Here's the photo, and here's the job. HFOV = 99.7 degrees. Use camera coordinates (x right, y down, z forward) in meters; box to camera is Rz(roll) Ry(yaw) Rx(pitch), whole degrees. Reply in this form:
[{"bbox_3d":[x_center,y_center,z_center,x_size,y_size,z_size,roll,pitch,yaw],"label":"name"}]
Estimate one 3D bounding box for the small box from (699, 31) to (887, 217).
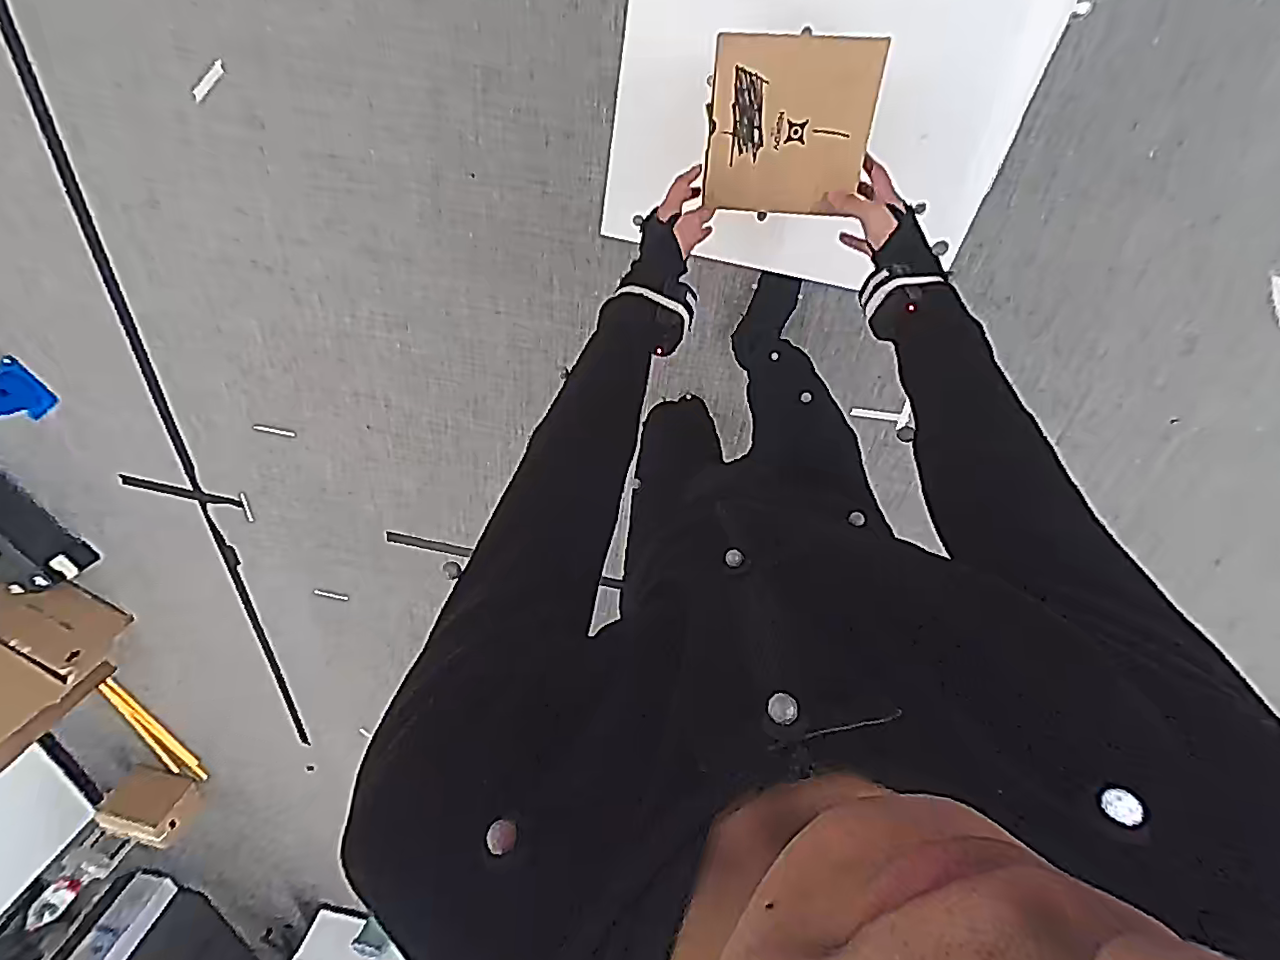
[{"bbox_3d":[0.171,-0.426,0.659,0.179,0.176,0.168,6,123,6],"label":"small box"}]
